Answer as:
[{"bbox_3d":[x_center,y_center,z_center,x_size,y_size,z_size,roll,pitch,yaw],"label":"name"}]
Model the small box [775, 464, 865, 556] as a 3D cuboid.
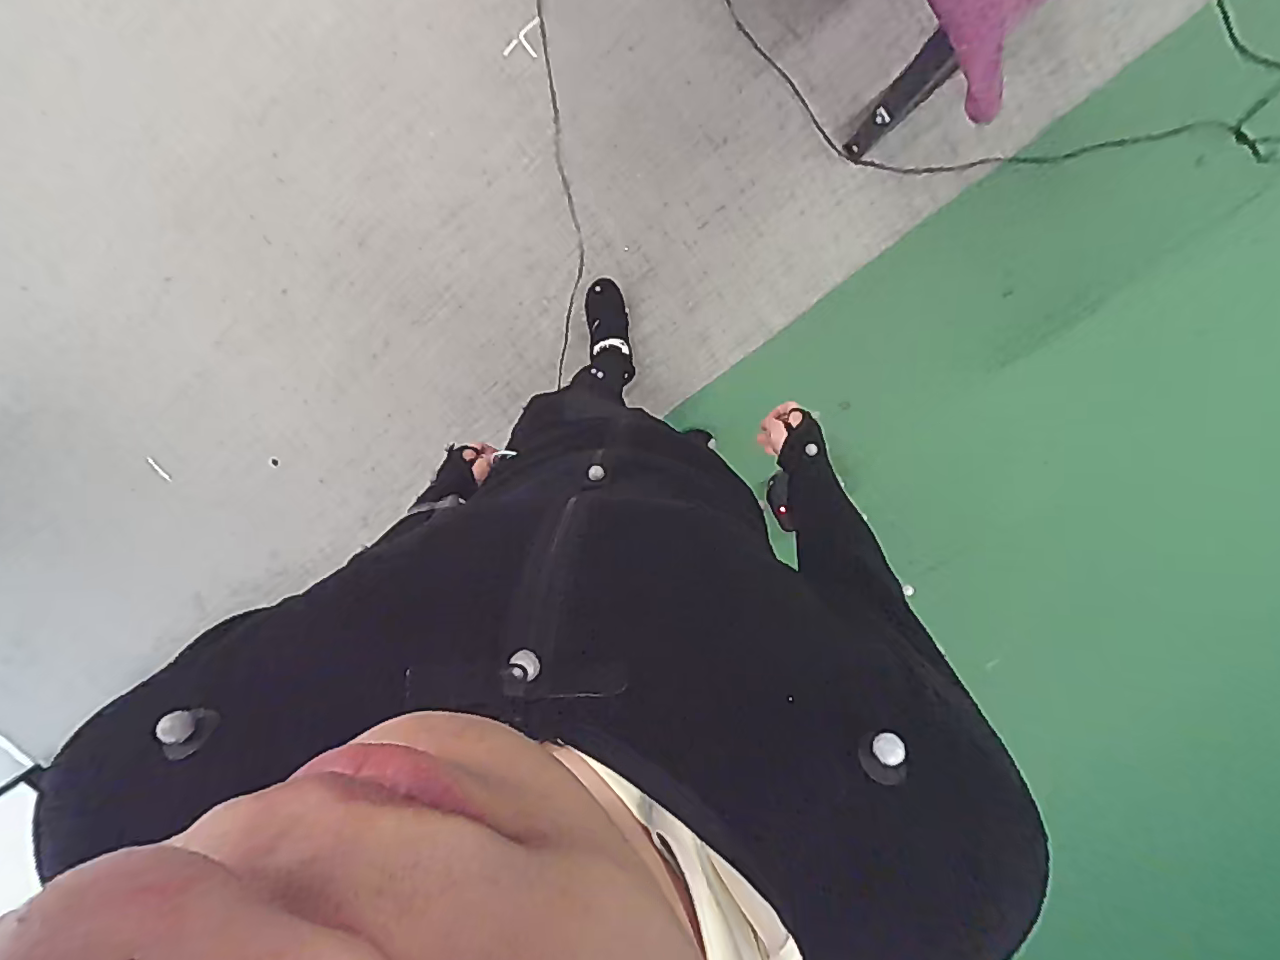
[{"bbox_3d":[0.499,0.080,1.534,0.179,0.176,0.168,-36,99,13],"label":"small box"}]
